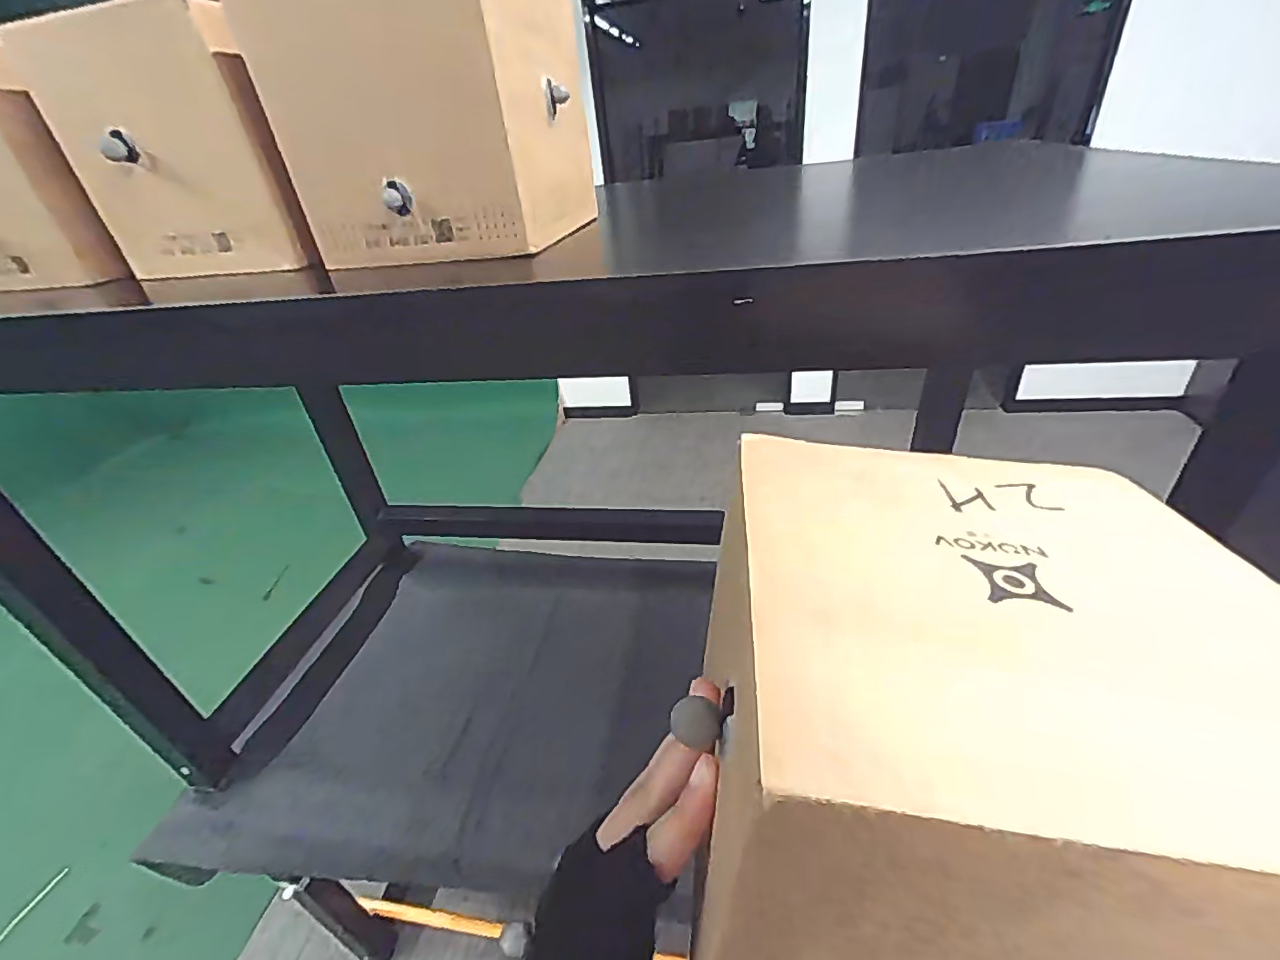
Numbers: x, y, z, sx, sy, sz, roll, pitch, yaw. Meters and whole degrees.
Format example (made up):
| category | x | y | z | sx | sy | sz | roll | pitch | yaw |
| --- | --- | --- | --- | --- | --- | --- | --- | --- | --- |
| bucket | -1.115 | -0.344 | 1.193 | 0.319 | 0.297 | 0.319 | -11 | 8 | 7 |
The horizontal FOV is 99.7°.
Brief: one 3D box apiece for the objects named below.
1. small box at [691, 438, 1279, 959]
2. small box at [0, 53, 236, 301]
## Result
| category | x | y | z | sx | sy | sz | roll | pitch | yaw |
| --- | --- | --- | --- | --- | --- | --- | --- | --- | --- |
| small box | 0.112 | 0.101 | 0.213 | 0.168 | 0.176 | 0.179 | 7 | 30 | 5 |
| small box | -0.523 | -0.271 | 0.497 | 0.168 | 0.176 | 0.179 | 1 | 34 | 12 |
